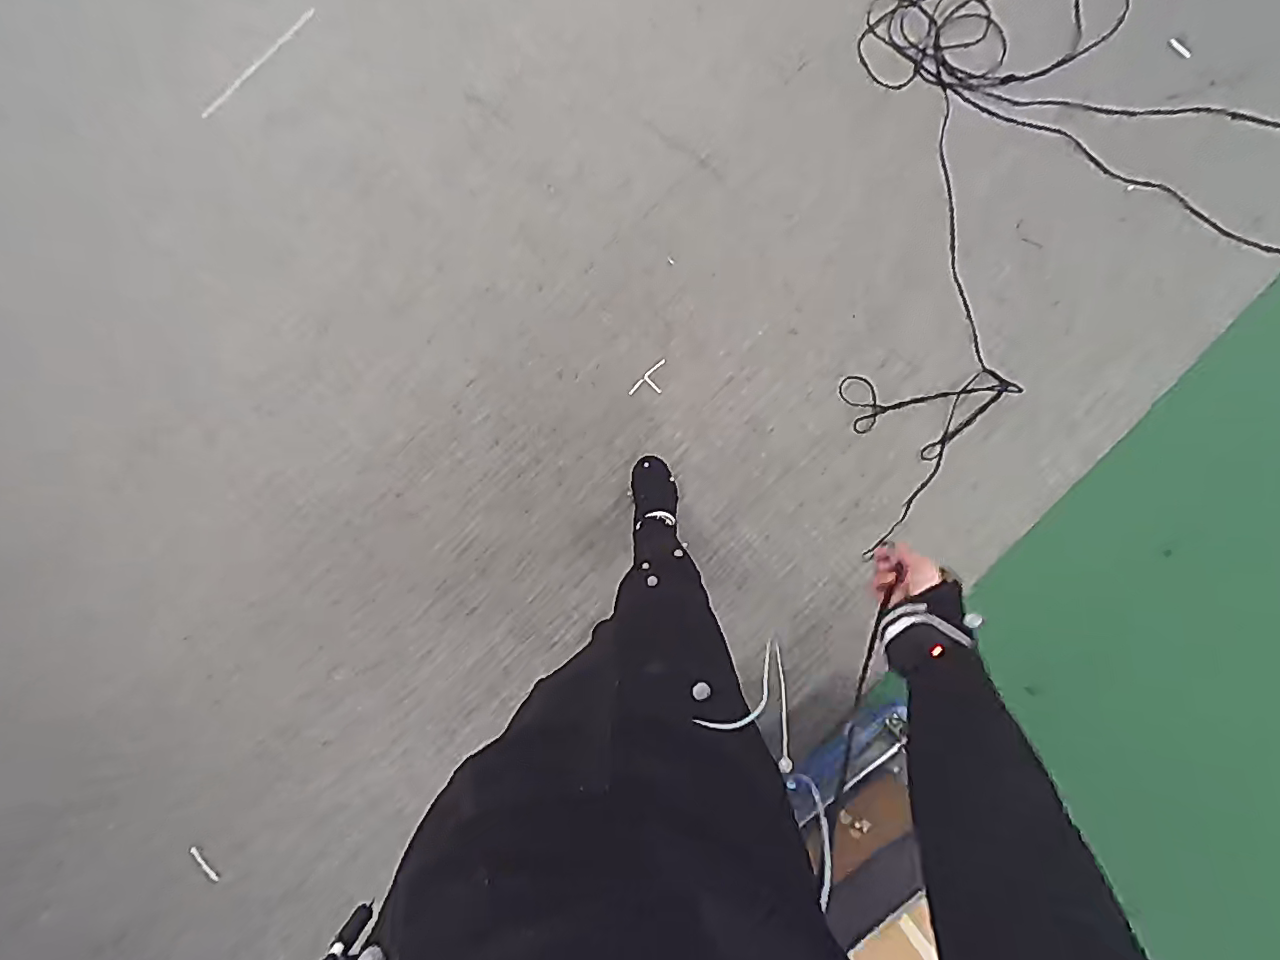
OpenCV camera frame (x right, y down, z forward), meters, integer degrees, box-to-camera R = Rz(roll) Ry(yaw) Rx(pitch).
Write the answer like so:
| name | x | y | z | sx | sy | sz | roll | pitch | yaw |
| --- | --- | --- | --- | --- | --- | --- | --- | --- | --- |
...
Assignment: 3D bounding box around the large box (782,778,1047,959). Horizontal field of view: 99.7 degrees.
| name | x | y | z | sx | sy | sz | roll | pitch | yaw |
| --- | --- | --- | --- | --- | --- | --- | --- | --- | --- |
| large box | 0.543 | 0.885 | 1.030 | 0.320 | 0.320 | 0.408 | -37 | 85 | -1 |
